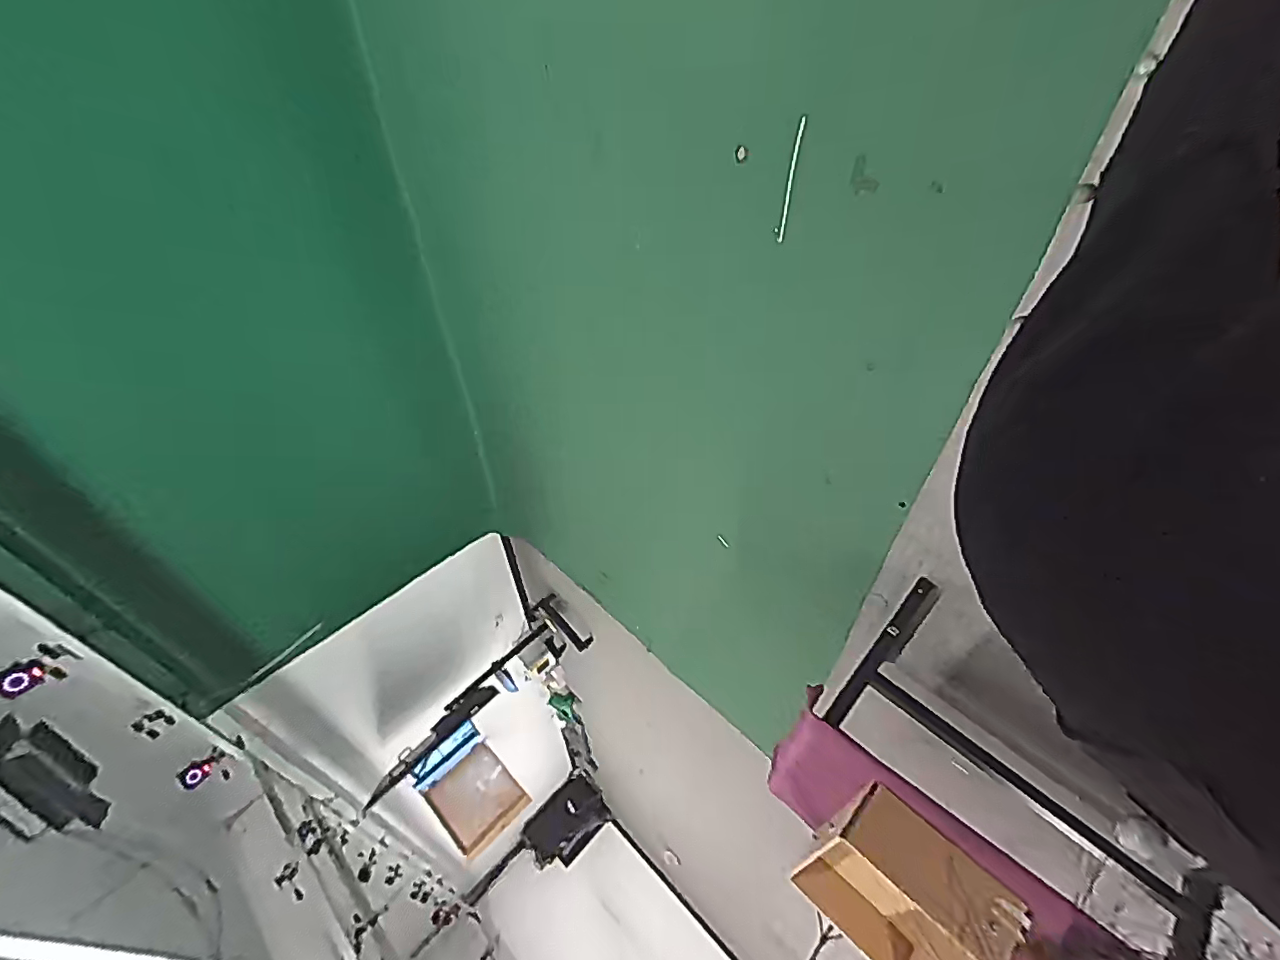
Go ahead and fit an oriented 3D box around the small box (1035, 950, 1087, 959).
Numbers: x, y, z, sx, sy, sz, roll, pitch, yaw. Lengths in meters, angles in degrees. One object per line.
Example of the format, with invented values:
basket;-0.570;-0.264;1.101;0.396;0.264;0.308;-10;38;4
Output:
small box;0.973;1.186;1.193;0.168;0.176;0.179;36;147;29
